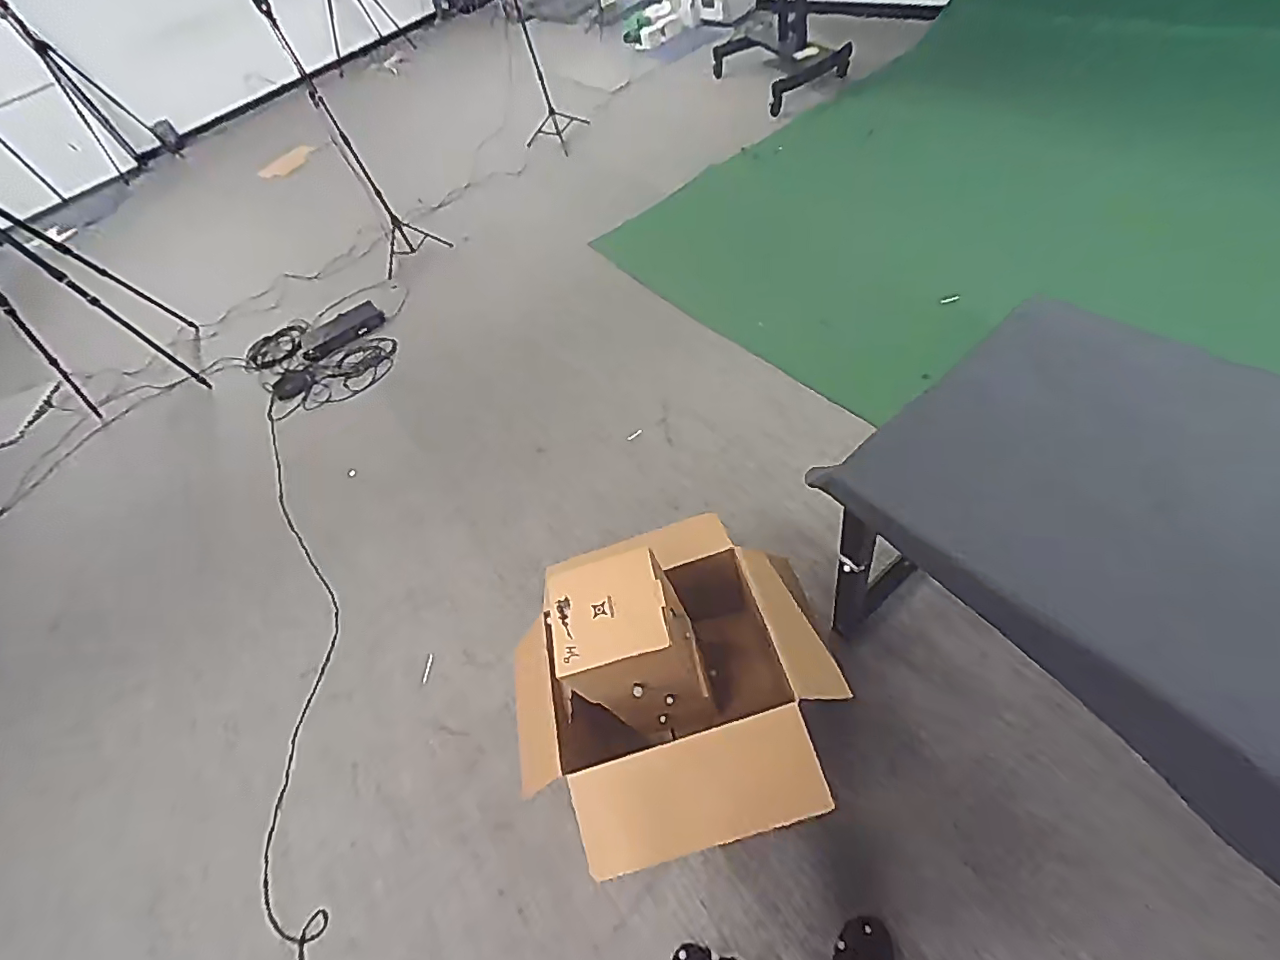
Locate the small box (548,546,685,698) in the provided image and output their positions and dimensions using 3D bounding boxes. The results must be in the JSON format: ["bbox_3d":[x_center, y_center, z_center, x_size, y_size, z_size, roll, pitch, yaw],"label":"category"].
[{"bbox_3d":[-0.032,0.234,0.870,0.179,0.176,0.168,-17,53,6],"label":"small box"}]
